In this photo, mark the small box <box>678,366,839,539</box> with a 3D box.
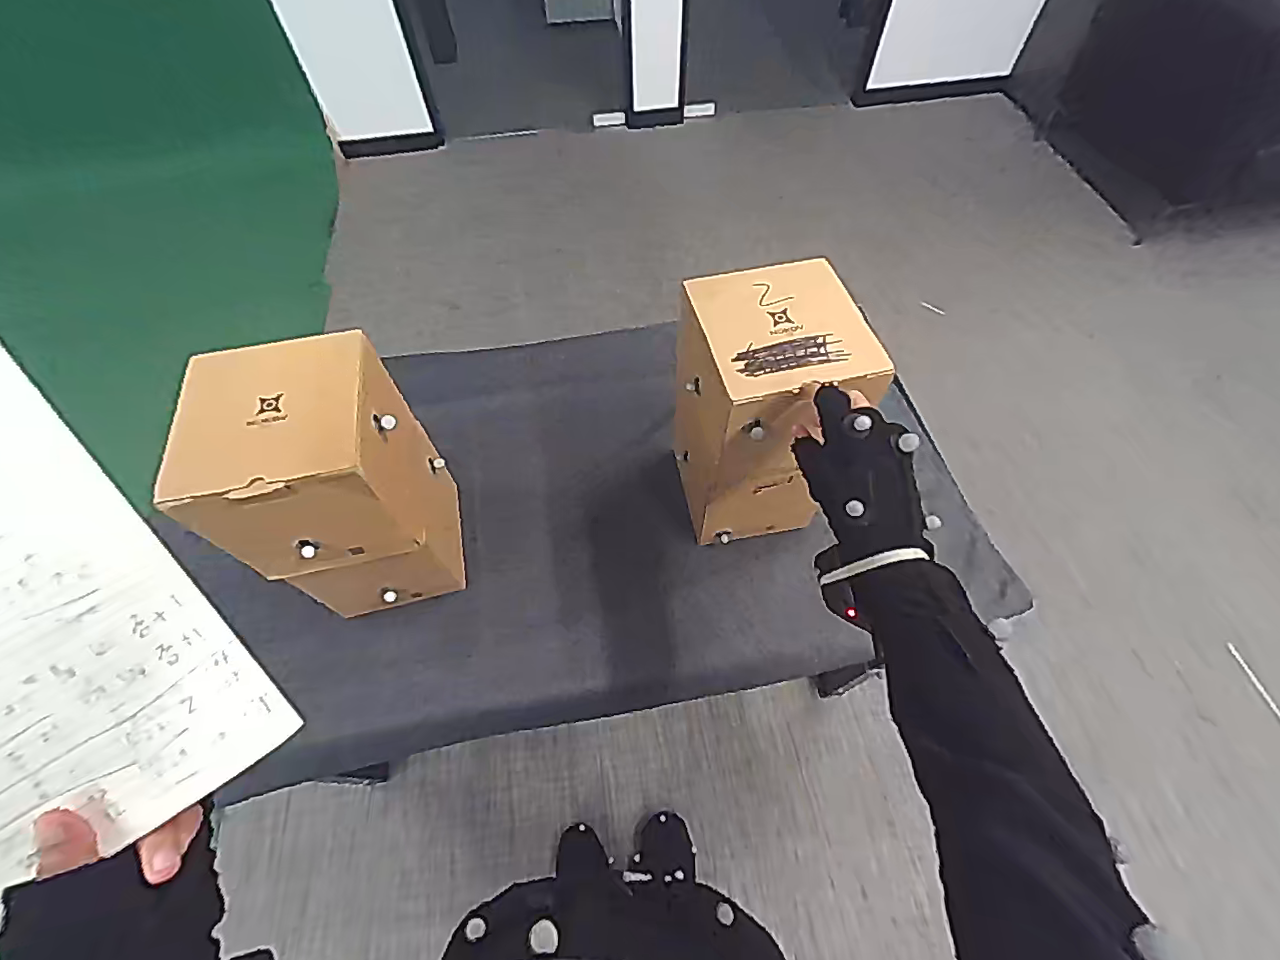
[{"bbox_3d":[0.151,-0.030,0.760,0.168,0.176,0.179,-9,58,-5],"label":"small box"}]

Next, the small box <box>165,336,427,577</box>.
[{"bbox_3d":[-0.334,-0.021,0.569,0.168,0.176,0.179,-11,59,-7],"label":"small box"}]

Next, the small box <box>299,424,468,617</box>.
[{"bbox_3d":[-0.335,0.057,0.711,0.168,0.176,0.179,-13,59,-7],"label":"small box"}]
